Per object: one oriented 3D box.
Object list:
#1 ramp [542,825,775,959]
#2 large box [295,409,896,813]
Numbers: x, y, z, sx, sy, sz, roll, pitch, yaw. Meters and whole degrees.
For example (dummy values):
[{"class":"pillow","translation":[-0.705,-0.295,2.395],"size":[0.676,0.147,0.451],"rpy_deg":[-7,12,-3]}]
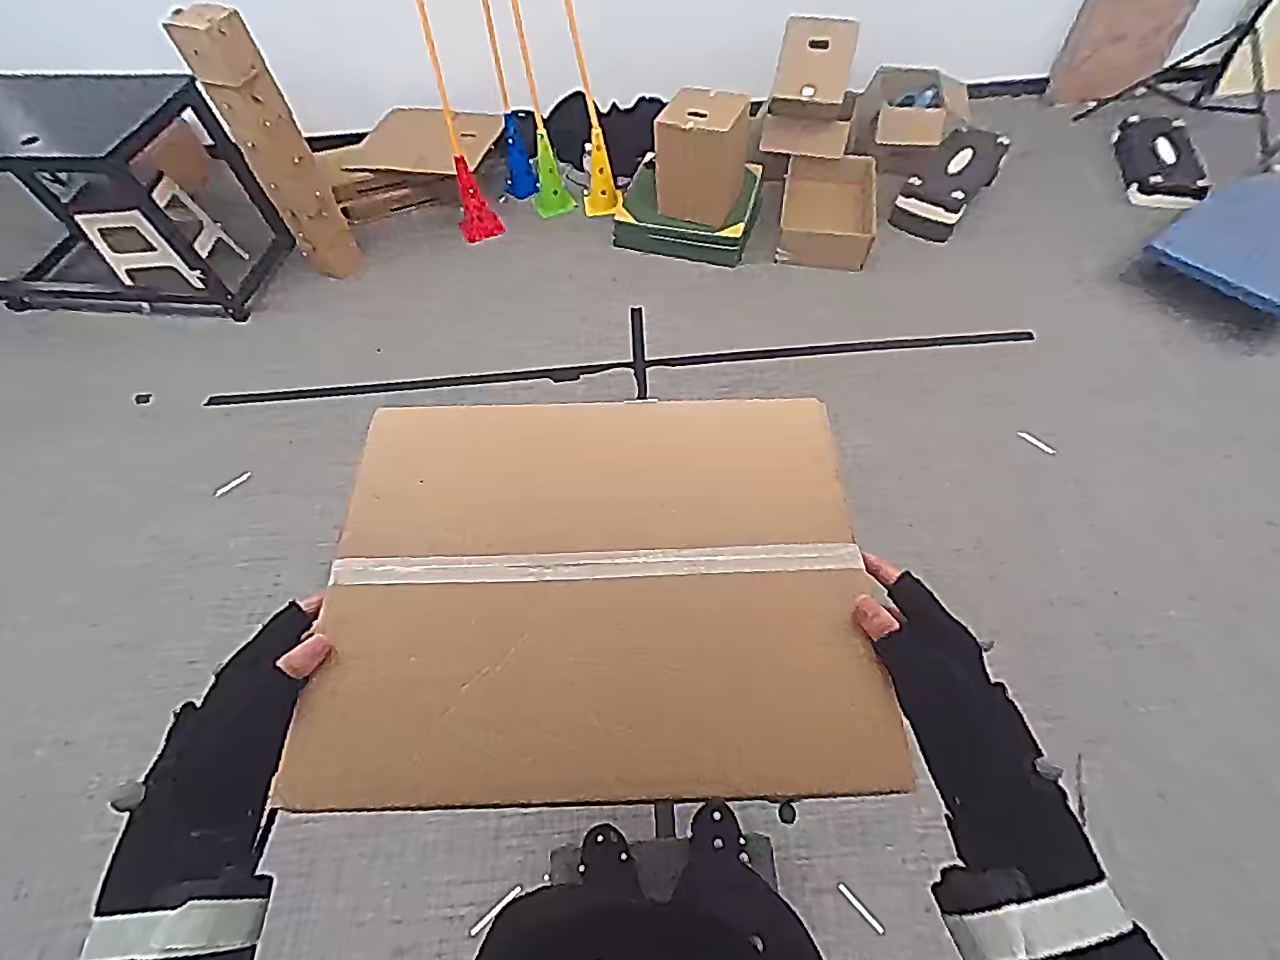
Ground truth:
[{"class":"ramp","translation":[0.055,1.253,1.032],"size":[0.509,0.206,0.991],"rpy_deg":[-4,59,-2]},{"class":"large box","translation":[-0.031,0.145,0.554],"size":[0.408,0.320,0.320],"rpy_deg":[-1,60,-1]}]
